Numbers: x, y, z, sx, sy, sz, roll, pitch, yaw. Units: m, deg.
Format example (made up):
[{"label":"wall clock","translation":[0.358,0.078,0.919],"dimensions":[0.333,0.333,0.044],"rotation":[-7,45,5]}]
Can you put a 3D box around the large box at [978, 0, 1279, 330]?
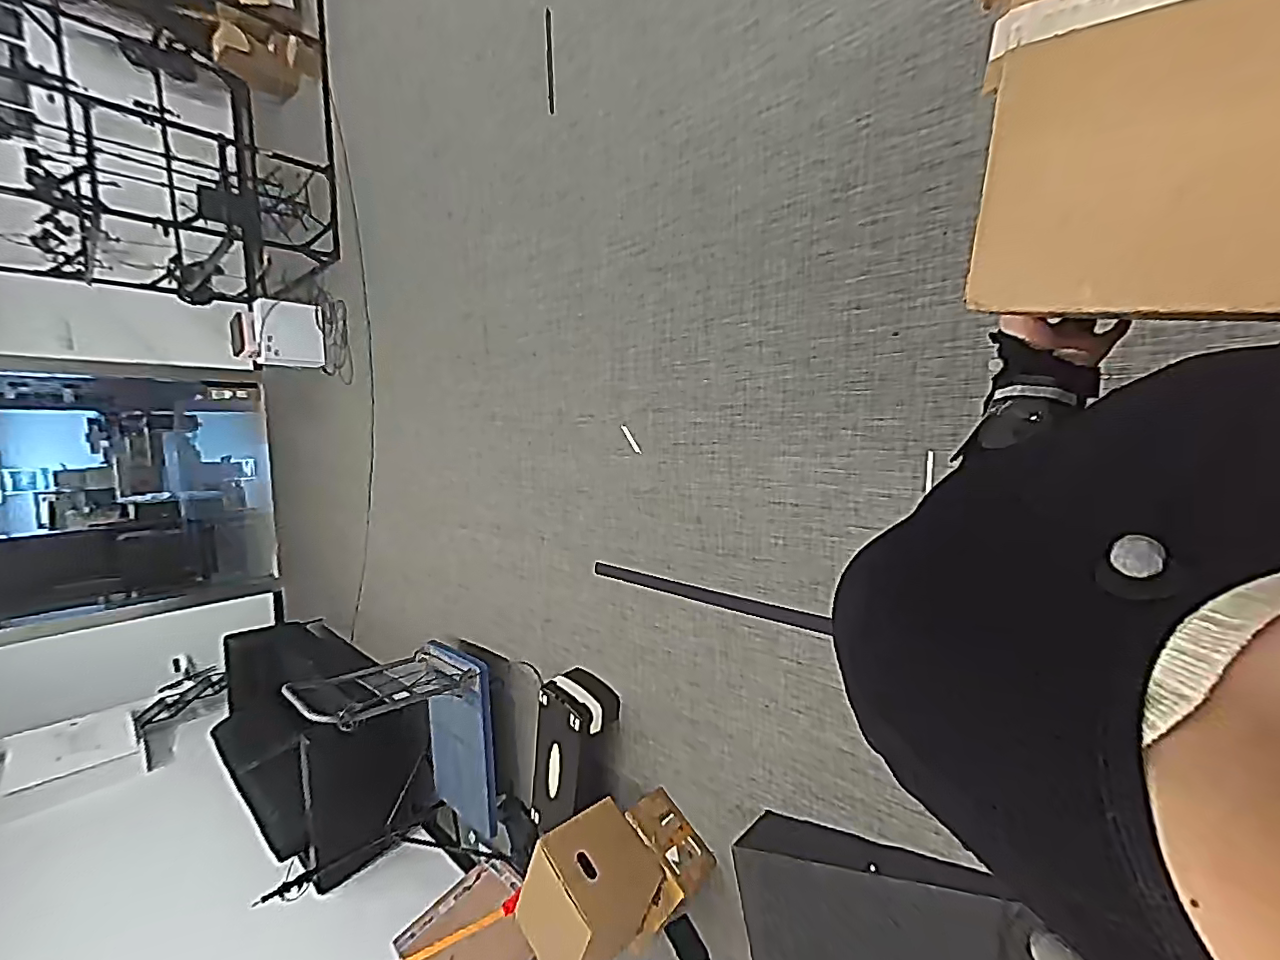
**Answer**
[{"label":"large box","translation":[0.465,-0.244,0.288],"dimensions":[0.408,0.320,0.320],"rotation":[15,112,42]}]
